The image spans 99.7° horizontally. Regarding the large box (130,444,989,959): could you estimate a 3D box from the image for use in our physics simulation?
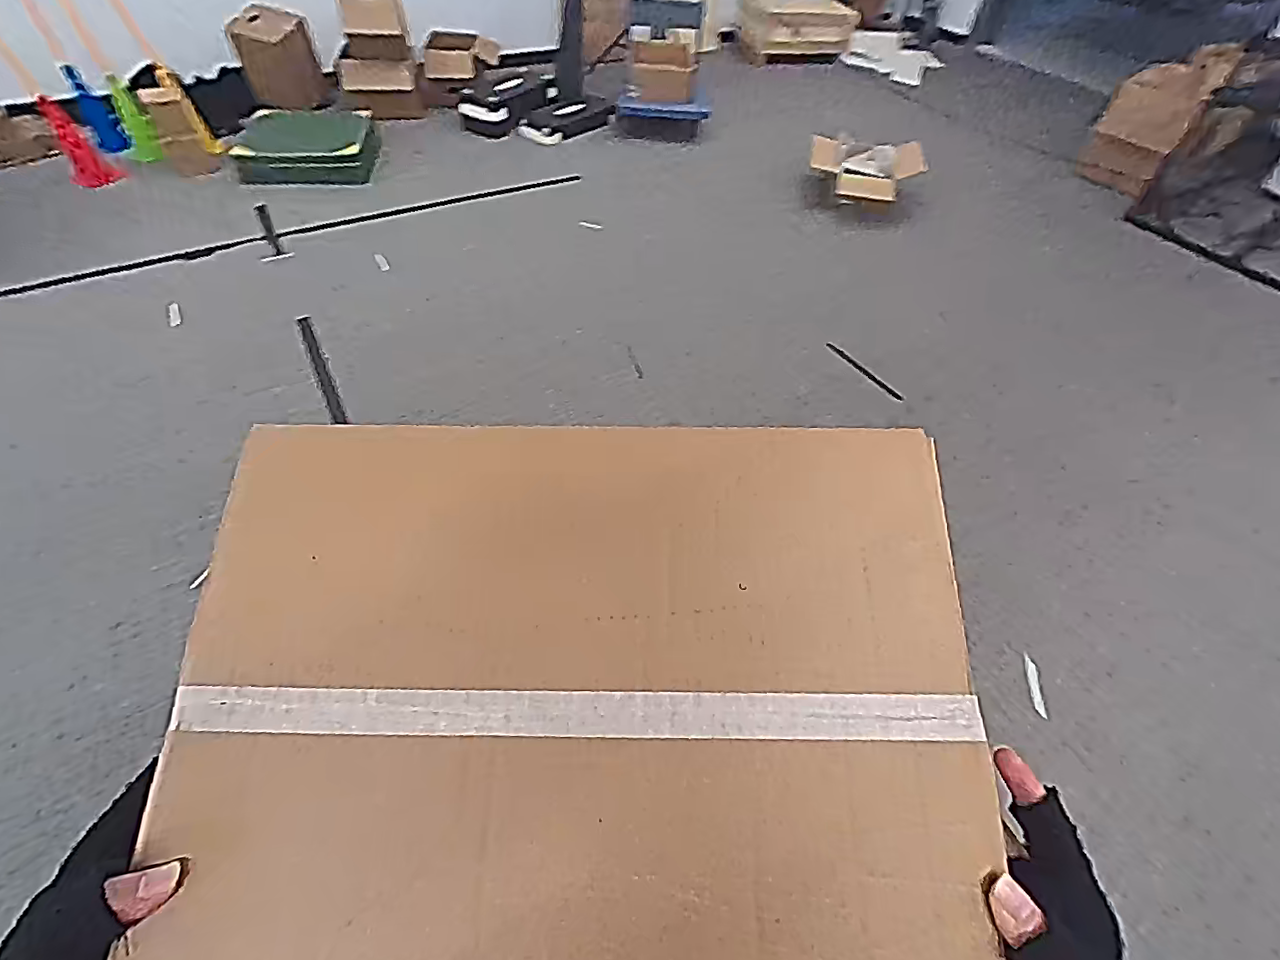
[{"bbox_3d":[-0.035,0.174,0.421,0.408,0.320,0.320,-1,71,1],"label":"large box"}]
